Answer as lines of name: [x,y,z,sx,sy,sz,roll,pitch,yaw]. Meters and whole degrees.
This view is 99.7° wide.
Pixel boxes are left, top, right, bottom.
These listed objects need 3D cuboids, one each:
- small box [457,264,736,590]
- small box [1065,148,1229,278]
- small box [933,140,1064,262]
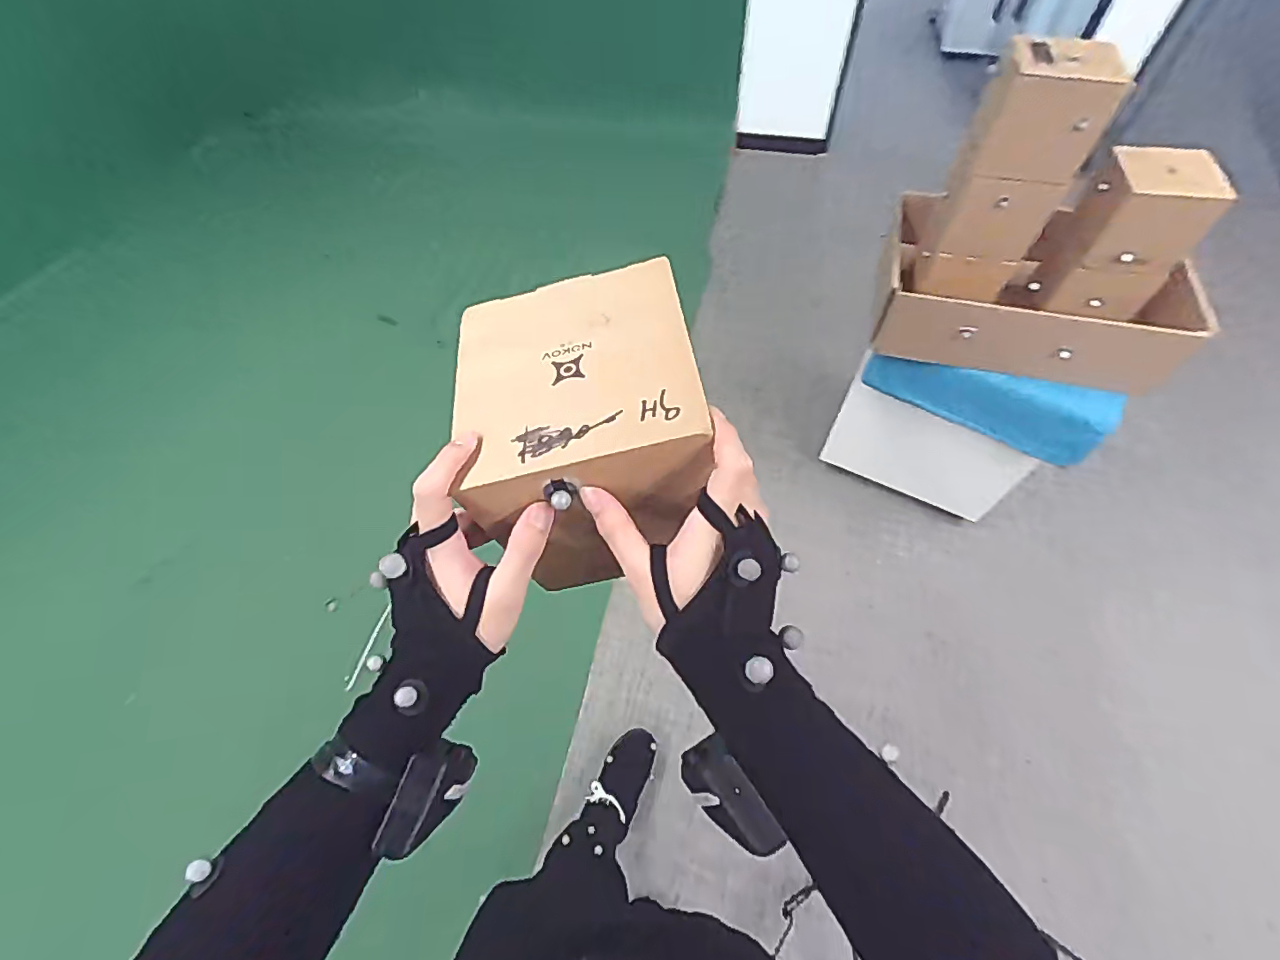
small box: [-0.024,-0.035,0.434,0.168,0.176,0.179,-13,54,7]
small box: [1.007,-0.541,1.097,0.168,0.176,0.179,9,58,11]
small box: [0.736,-0.583,1.137,0.179,0.176,0.168,11,59,8]
